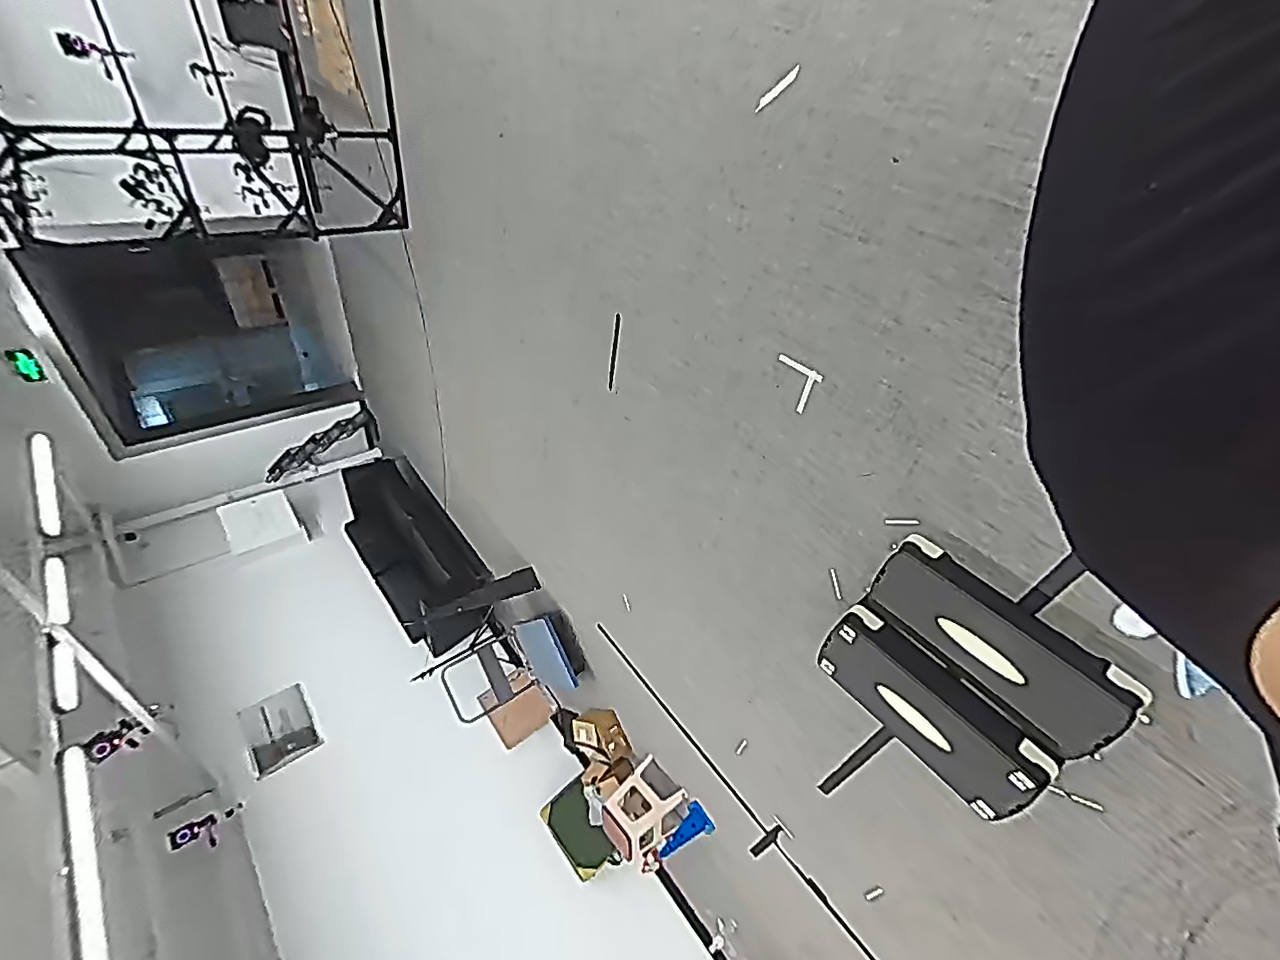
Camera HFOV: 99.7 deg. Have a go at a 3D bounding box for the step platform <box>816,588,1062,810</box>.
[{"bbox_3d":[0.906,0.676,1.727,0.684,0.204,0.286,42,140,34],"label":"step platform"}]
